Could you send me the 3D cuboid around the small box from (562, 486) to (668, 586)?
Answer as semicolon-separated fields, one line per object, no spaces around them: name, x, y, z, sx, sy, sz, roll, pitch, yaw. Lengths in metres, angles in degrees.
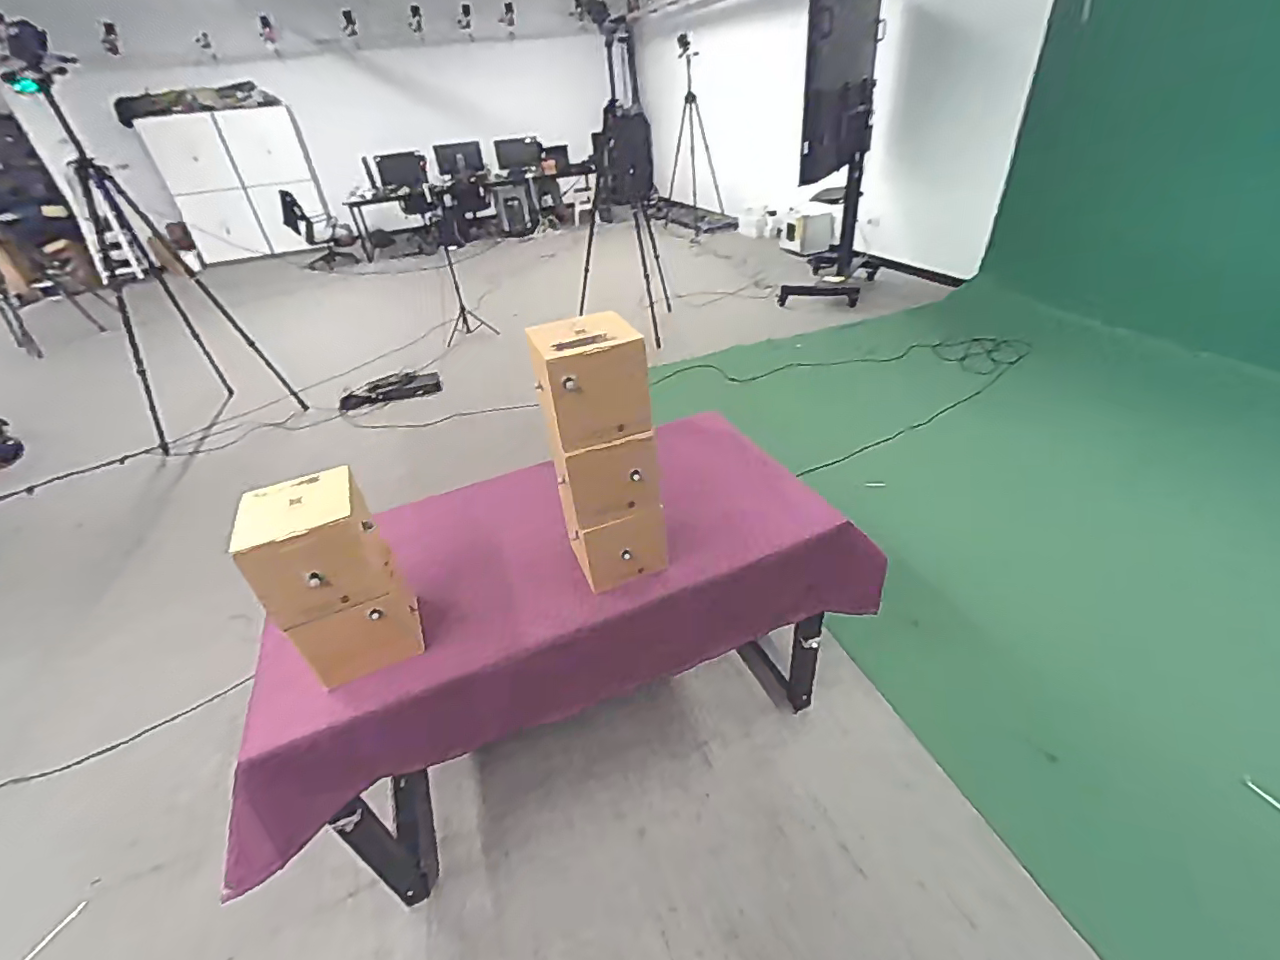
small box;-0.050;0.099;1.127;0.168;0.176;0.179;-17;36;-14

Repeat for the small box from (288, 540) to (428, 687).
small box;-0.514;0.247;1.001;0.179;0.176;0.168;-19;36;-18

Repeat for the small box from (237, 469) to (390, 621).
small box;-0.536;0.112;0.909;0.168;0.176;0.179;-18;37;-18

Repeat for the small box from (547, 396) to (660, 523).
small box;-0.068;-0.036;1.037;0.168;0.176;0.179;-16;35;-13
